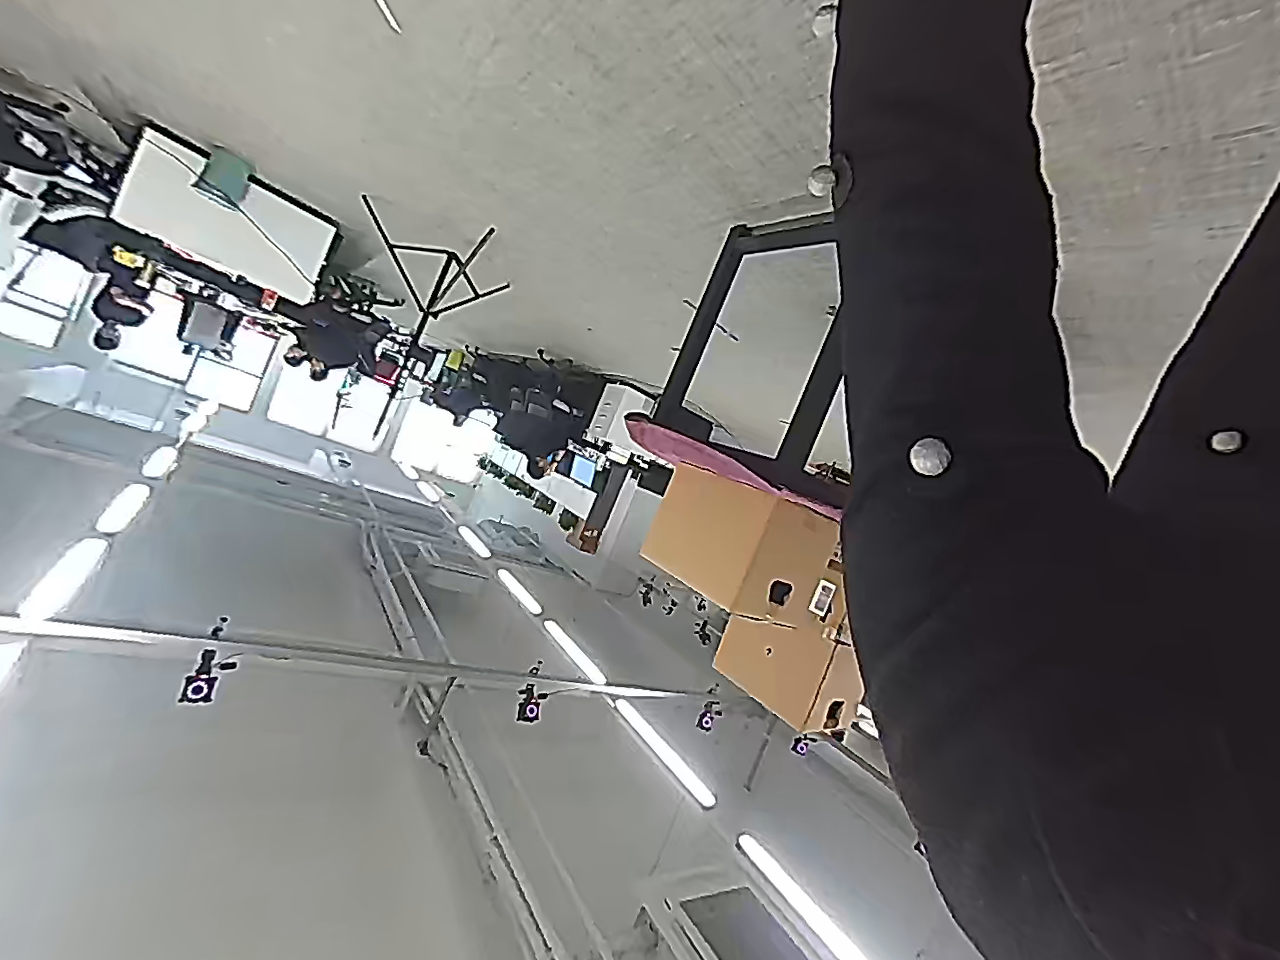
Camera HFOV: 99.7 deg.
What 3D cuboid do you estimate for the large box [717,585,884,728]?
[{"bbox_3d":[0.546,0.594,1.873,0.320,0.320,0.408,17,-177,-38],"label":"large box"}]
